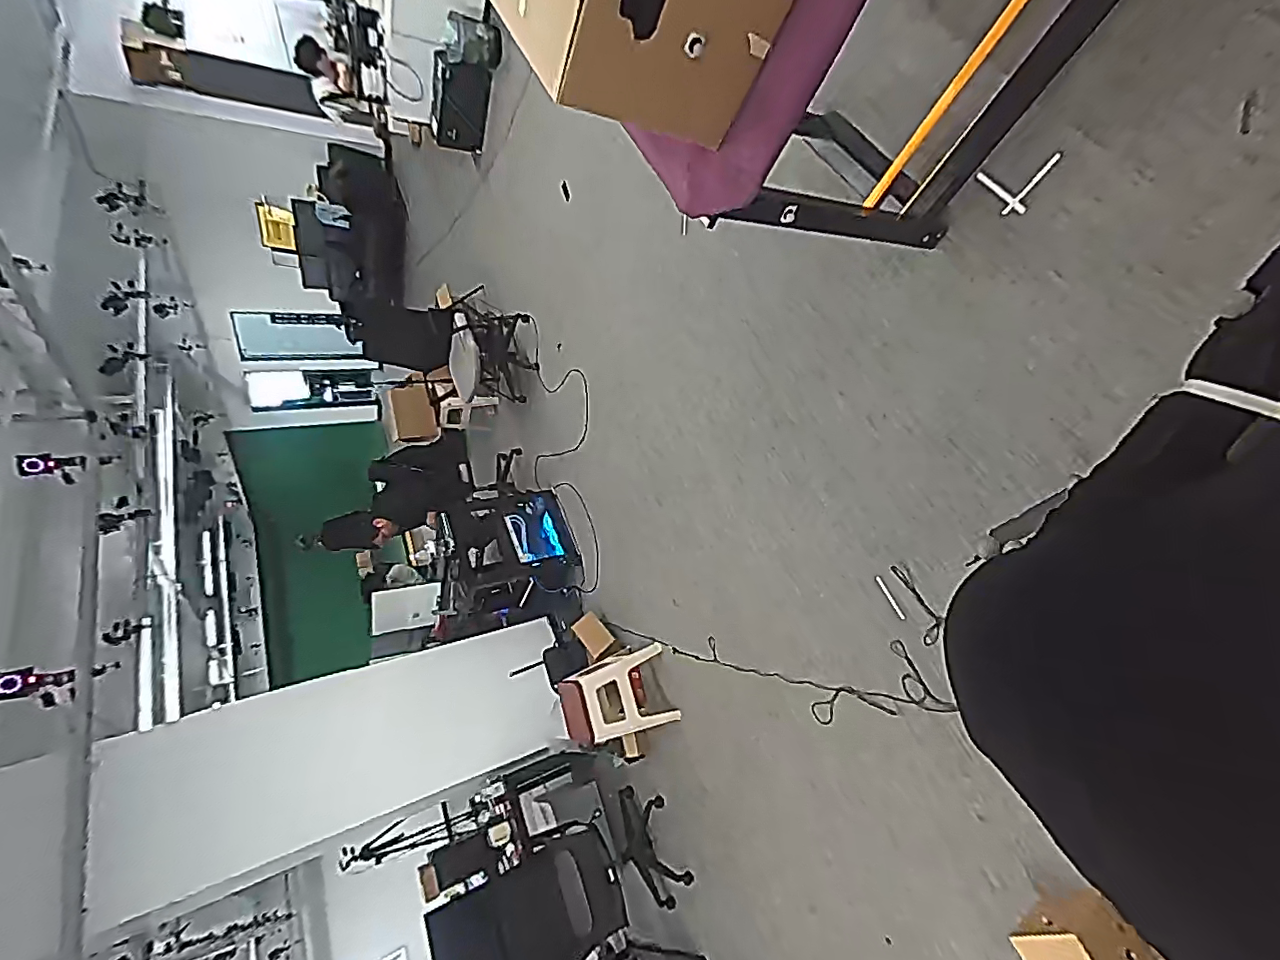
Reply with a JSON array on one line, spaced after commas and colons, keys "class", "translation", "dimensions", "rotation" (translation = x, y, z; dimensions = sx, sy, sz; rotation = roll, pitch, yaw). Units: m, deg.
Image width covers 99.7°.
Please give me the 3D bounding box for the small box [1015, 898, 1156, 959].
[{"class": "small box", "translation": [1.007, 1.074, 1.209], "dimensions": [0.168, 0.176, 0.179], "rotation": [61, 143, 29]}]
